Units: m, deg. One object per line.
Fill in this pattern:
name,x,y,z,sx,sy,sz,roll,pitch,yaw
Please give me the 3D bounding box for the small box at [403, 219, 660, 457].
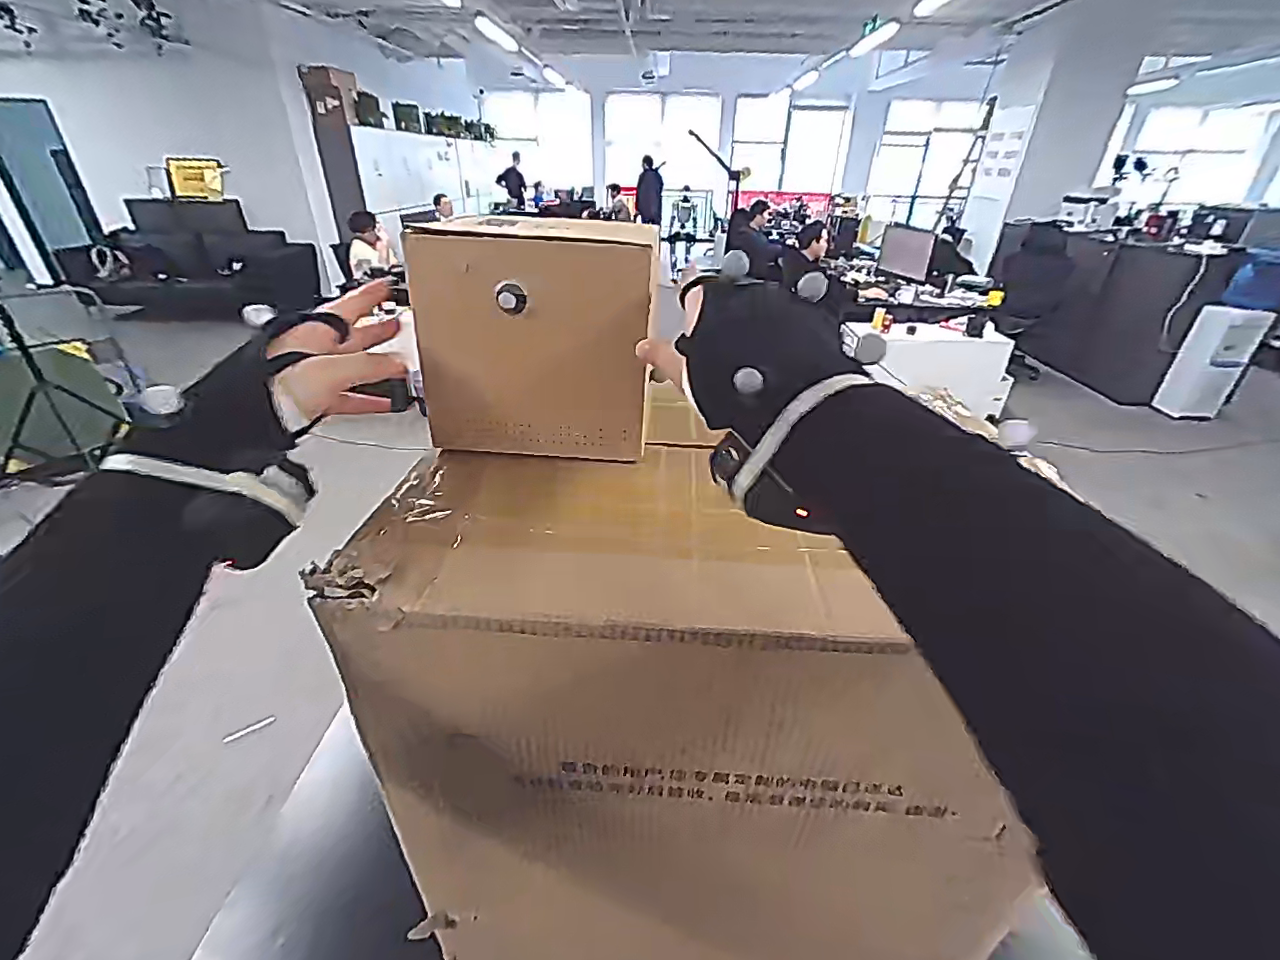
small box,-0.075,-0.129,0.473,0.179,0.176,0.168,4,29,2
